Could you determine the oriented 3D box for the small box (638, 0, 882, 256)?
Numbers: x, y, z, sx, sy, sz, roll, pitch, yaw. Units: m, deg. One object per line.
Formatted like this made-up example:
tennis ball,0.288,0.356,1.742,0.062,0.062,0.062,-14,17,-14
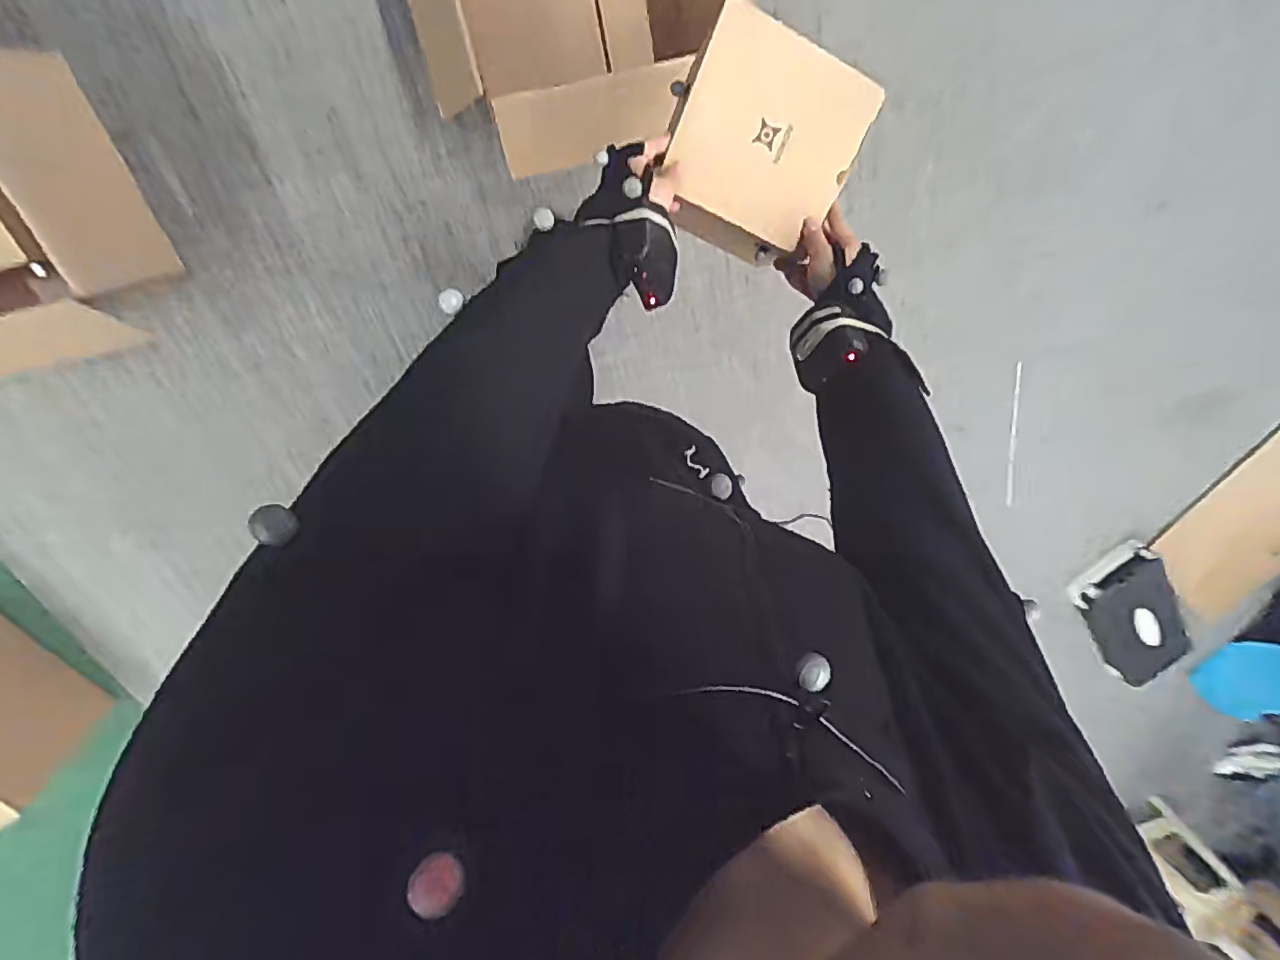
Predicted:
small box,0.110,-0.355,0.584,0.179,0.176,0.168,20,106,-14
